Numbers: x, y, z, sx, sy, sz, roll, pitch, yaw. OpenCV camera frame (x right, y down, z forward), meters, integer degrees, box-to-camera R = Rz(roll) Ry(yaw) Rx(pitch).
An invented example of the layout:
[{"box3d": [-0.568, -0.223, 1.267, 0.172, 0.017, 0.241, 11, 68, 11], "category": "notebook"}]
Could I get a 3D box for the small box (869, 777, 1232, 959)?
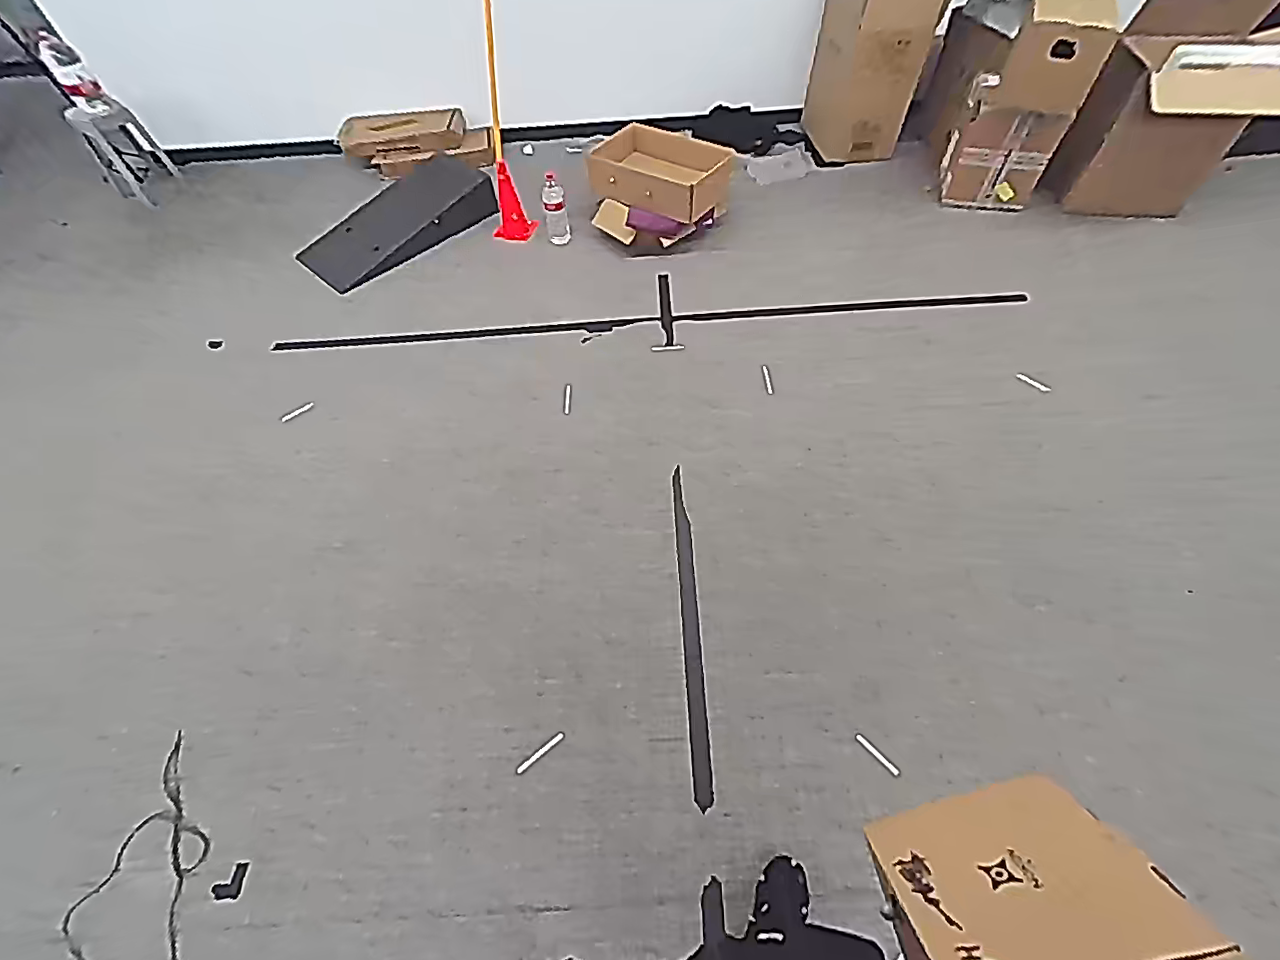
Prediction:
[{"box3d": [0.318, 0.386, 0.434, 0.179, 0.168, 0.176, -18, 94, 3], "category": "small box"}]
